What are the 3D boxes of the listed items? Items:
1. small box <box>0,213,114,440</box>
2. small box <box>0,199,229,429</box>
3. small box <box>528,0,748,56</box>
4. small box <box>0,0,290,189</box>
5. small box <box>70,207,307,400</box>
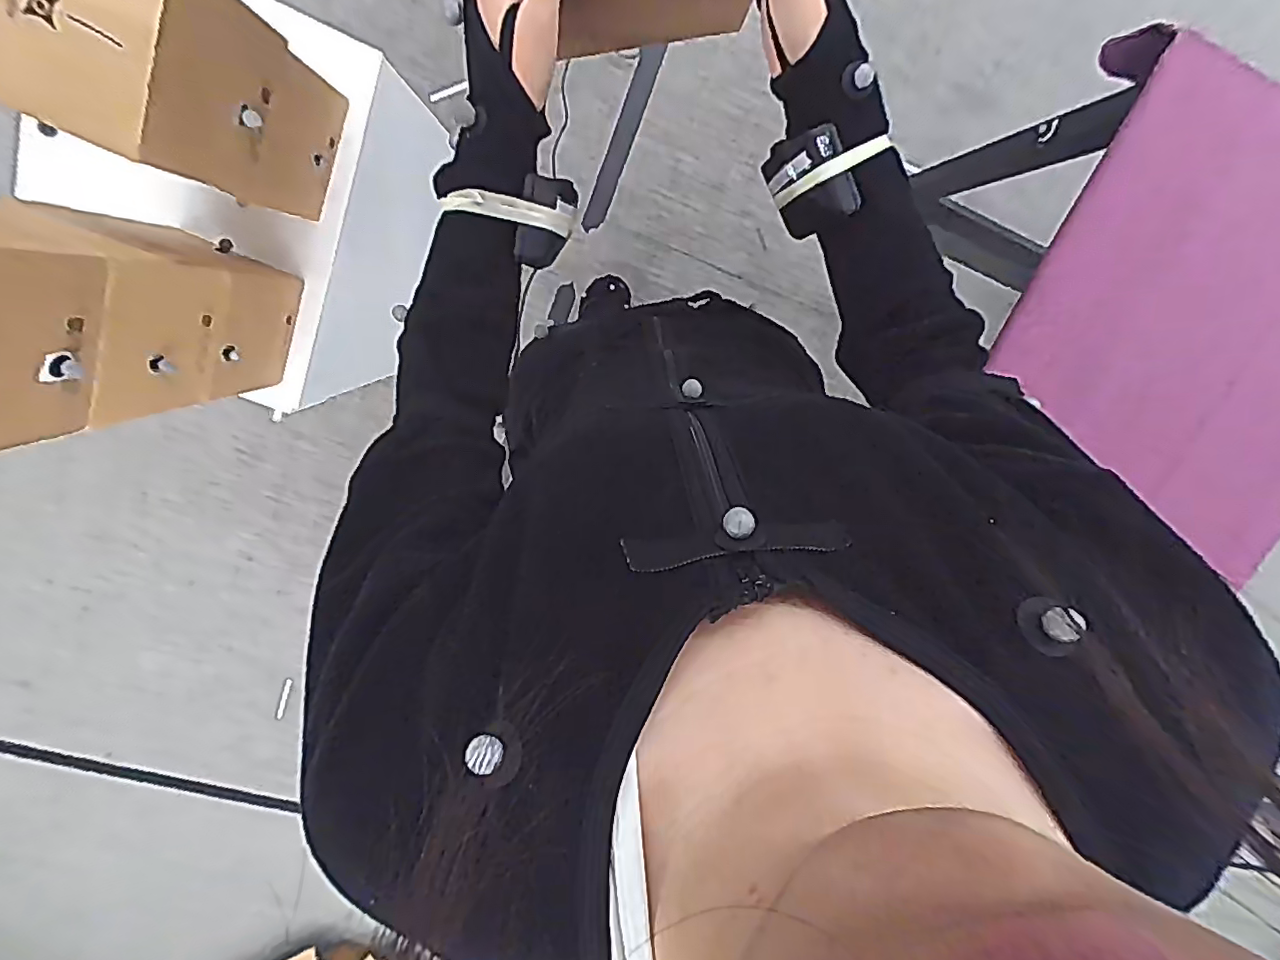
[{"bbox_3d":[-0.554,-0.124,0.392,0.179,0.176,0.168,19,106,-11],"label":"small box"},{"bbox_3d":[-0.565,-0.171,0.547,0.179,0.176,0.168,20,105,-10],"label":"small box"},{"bbox_3d":[-0.003,-0.424,0.364,0.179,0.176,0.168,-8,109,2],"label":"small box"},{"bbox_3d":[-0.462,-0.388,0.483,0.179,0.176,0.168,22,106,-12],"label":"small box"},{"bbox_3d":[-0.578,-0.221,0.700,0.179,0.176,0.168,21,106,-10],"label":"small box"}]
